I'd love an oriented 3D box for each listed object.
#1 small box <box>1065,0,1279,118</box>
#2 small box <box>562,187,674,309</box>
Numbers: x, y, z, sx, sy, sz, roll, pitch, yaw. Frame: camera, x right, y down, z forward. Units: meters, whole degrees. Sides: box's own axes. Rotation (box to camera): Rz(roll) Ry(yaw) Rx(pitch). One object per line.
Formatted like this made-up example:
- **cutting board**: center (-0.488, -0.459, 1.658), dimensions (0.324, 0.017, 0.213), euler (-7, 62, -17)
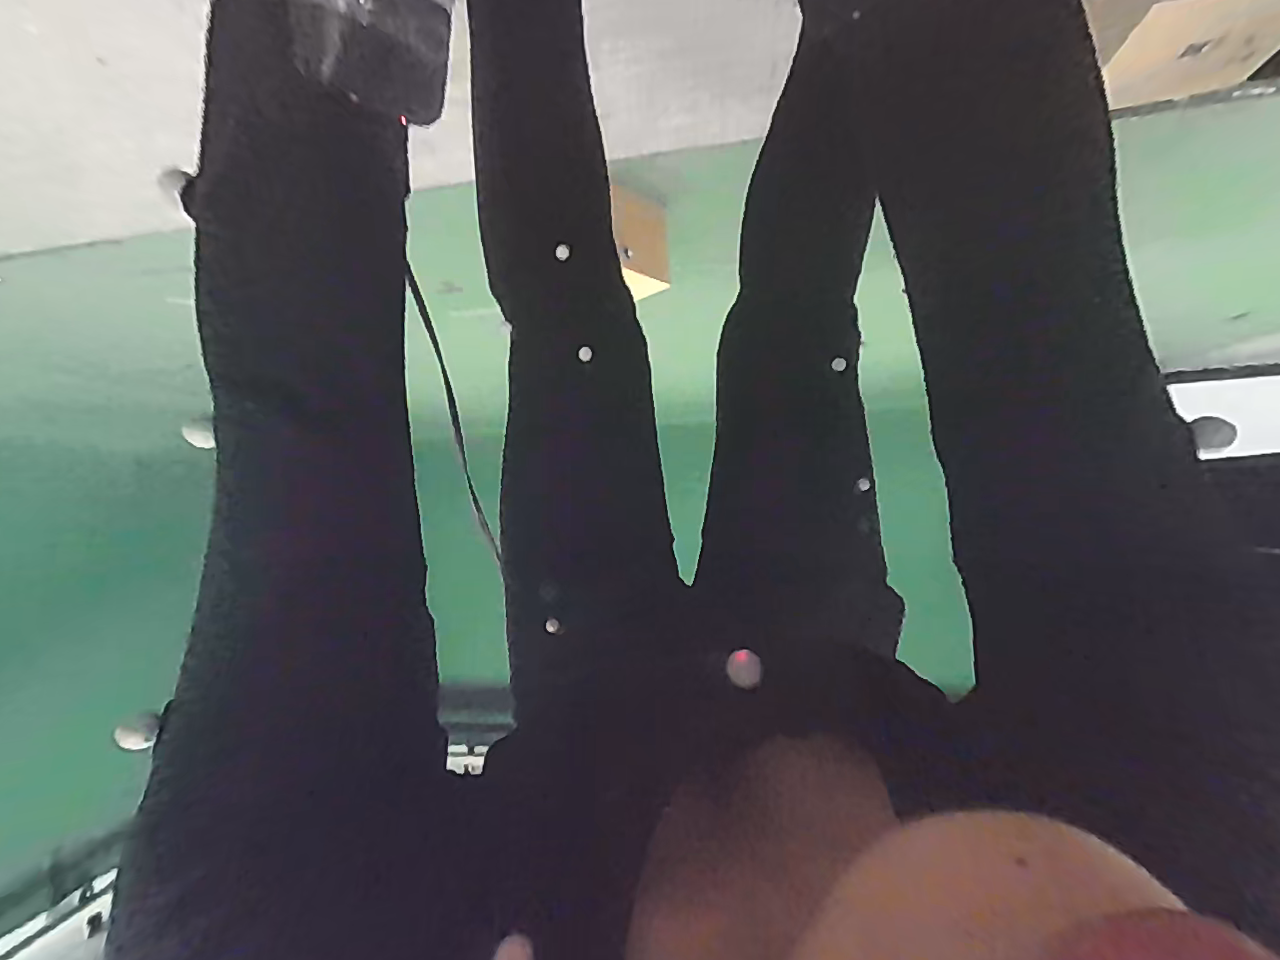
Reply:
- **small box**: center (0.578, -0.527, 0.559), dimensions (0.179, 0.176, 0.168), euler (-4, 179, 14)
- **small box**: center (-0.047, -0.479, 1.134), dimensions (0.168, 0.176, 0.179), euler (-5, 177, 45)
